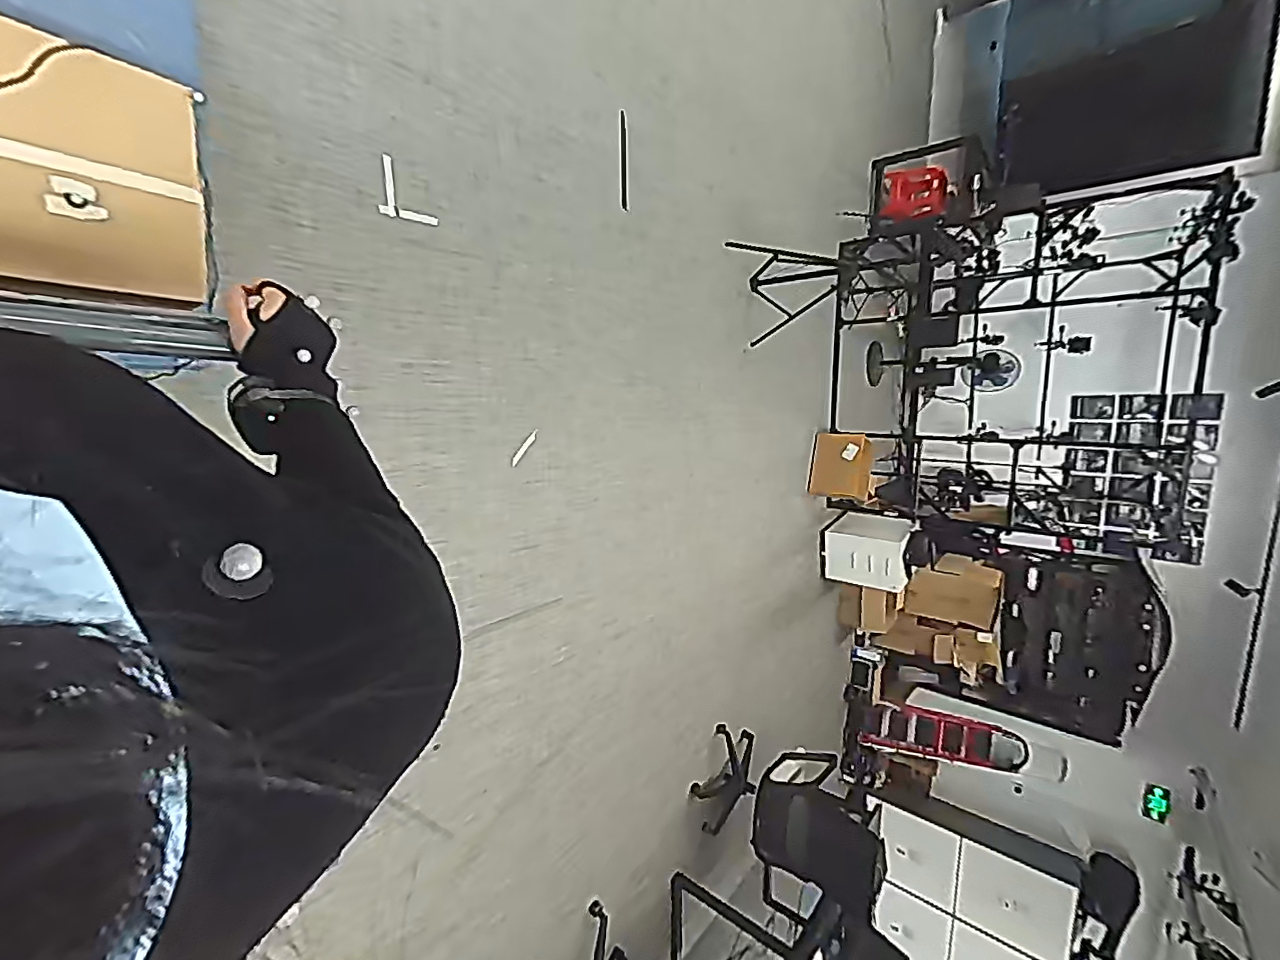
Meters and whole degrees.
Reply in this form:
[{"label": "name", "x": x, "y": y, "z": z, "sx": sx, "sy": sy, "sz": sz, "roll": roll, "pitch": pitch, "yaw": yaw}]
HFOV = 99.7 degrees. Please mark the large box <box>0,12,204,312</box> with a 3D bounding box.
[{"label": "large box", "x": -0.917, "y": -0.435, "z": 0.758, "sx": 0.408, "sy": 0.320, "sz": 0.320, "roll": -7, "pitch": 102, "yaw": -52}]
